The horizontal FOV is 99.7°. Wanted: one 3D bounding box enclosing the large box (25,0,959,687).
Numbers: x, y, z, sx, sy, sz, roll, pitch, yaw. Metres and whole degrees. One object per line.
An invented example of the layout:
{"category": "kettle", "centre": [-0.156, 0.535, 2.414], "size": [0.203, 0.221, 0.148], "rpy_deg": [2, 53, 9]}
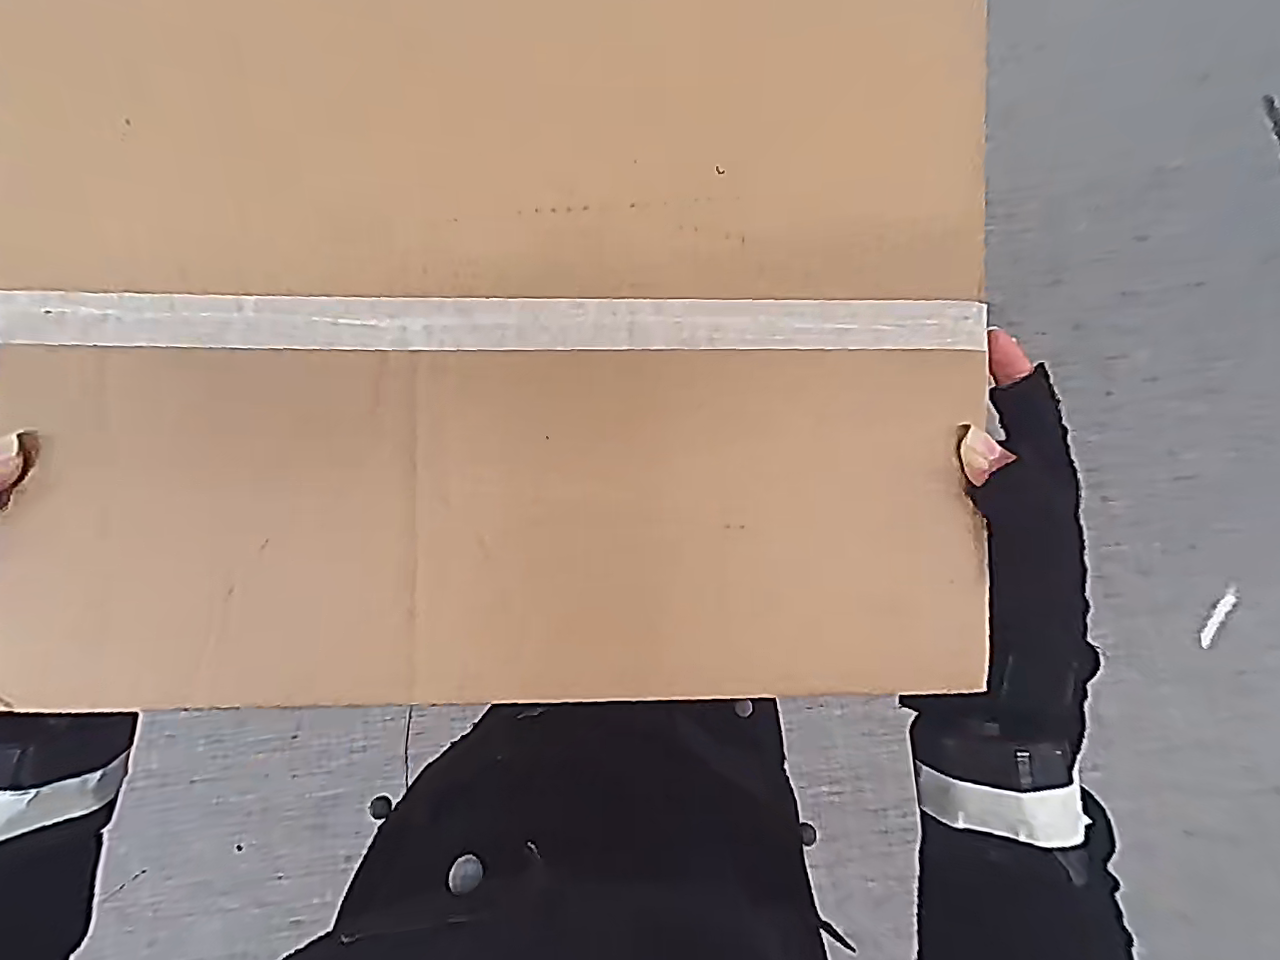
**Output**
{"category": "large box", "centre": [-0.060, -0.069, 0.385], "size": [0.408, 0.320, 0.320], "rpy_deg": [0, 90, -3]}
